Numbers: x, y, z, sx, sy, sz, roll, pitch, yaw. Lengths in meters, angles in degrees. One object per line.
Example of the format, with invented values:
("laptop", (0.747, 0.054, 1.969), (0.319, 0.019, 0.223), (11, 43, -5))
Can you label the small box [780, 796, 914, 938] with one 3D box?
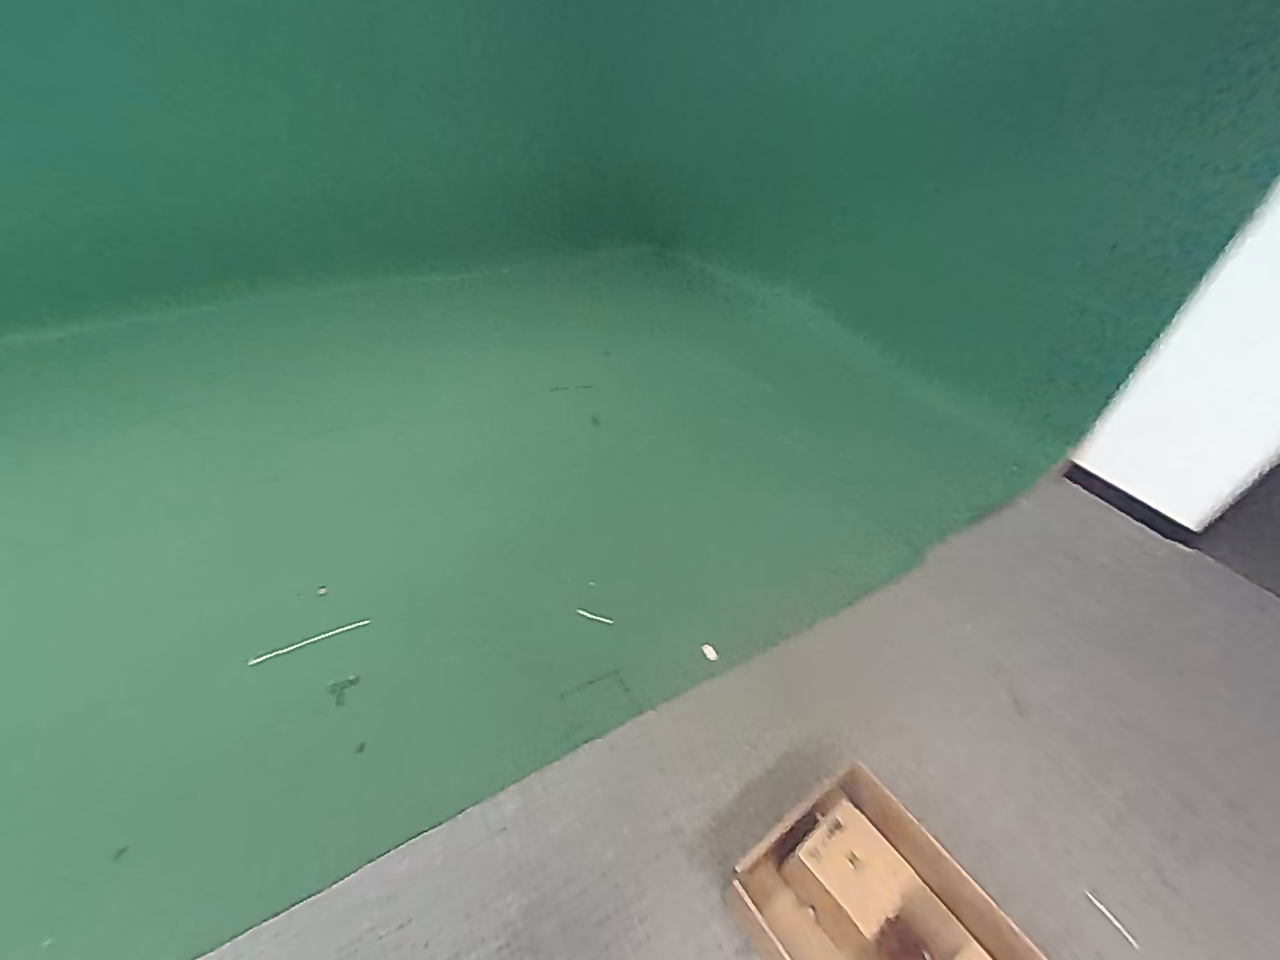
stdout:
("small box", (0.424, 0.813, 1.133), (0.168, 0.176, 0.179), (-26, 52, -29))

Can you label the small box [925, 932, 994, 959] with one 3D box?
("small box", (0.589, 0.975, 0.971), (0.168, 0.176, 0.179), (-23, 49, -26))
